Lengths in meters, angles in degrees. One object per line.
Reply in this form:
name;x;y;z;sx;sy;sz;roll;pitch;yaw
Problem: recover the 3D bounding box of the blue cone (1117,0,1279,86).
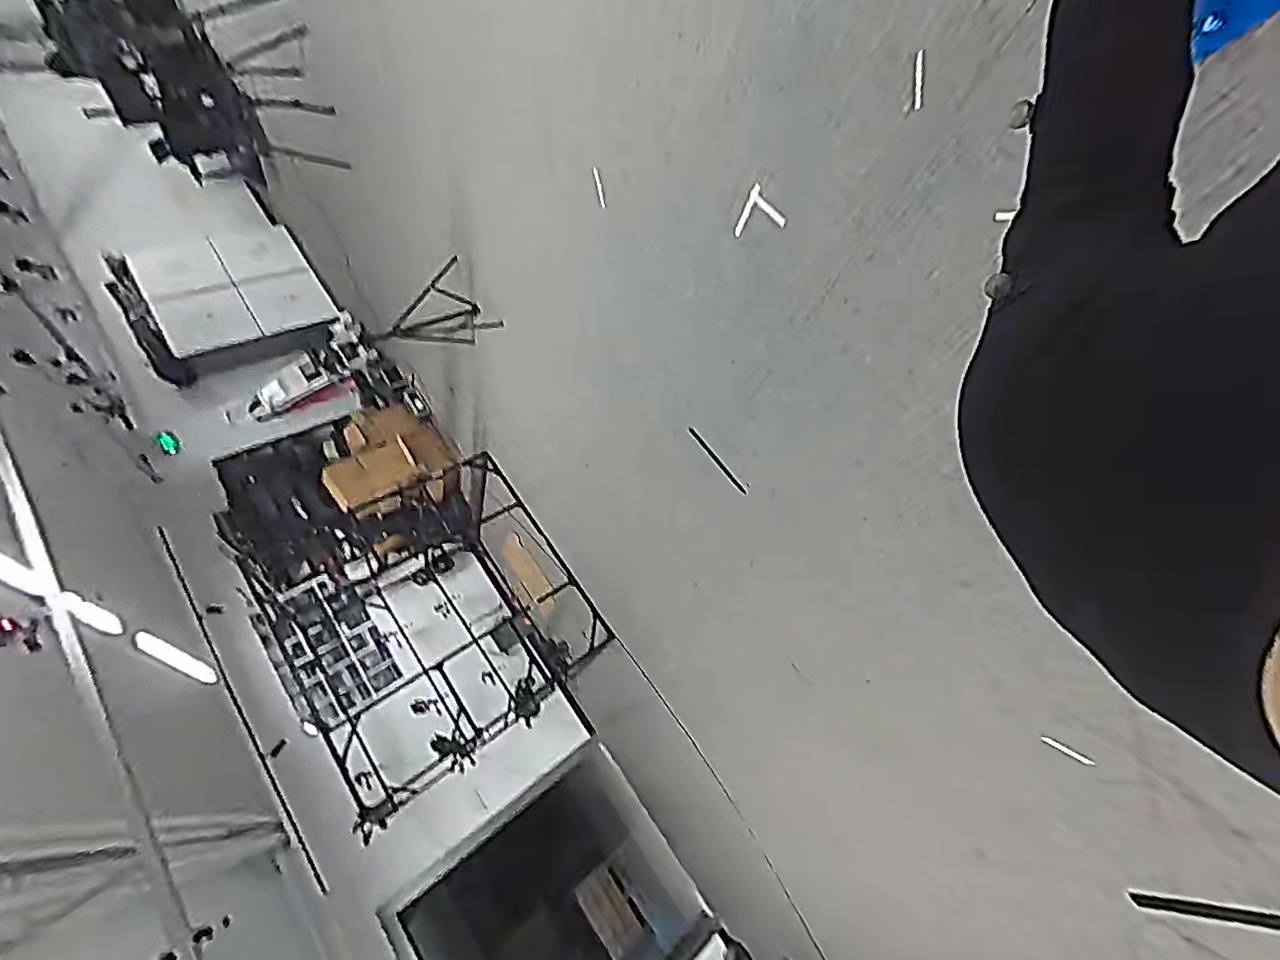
blue cone;0.811;-0.743;0.827;0.193;0.380;0.192;-19;99;61
